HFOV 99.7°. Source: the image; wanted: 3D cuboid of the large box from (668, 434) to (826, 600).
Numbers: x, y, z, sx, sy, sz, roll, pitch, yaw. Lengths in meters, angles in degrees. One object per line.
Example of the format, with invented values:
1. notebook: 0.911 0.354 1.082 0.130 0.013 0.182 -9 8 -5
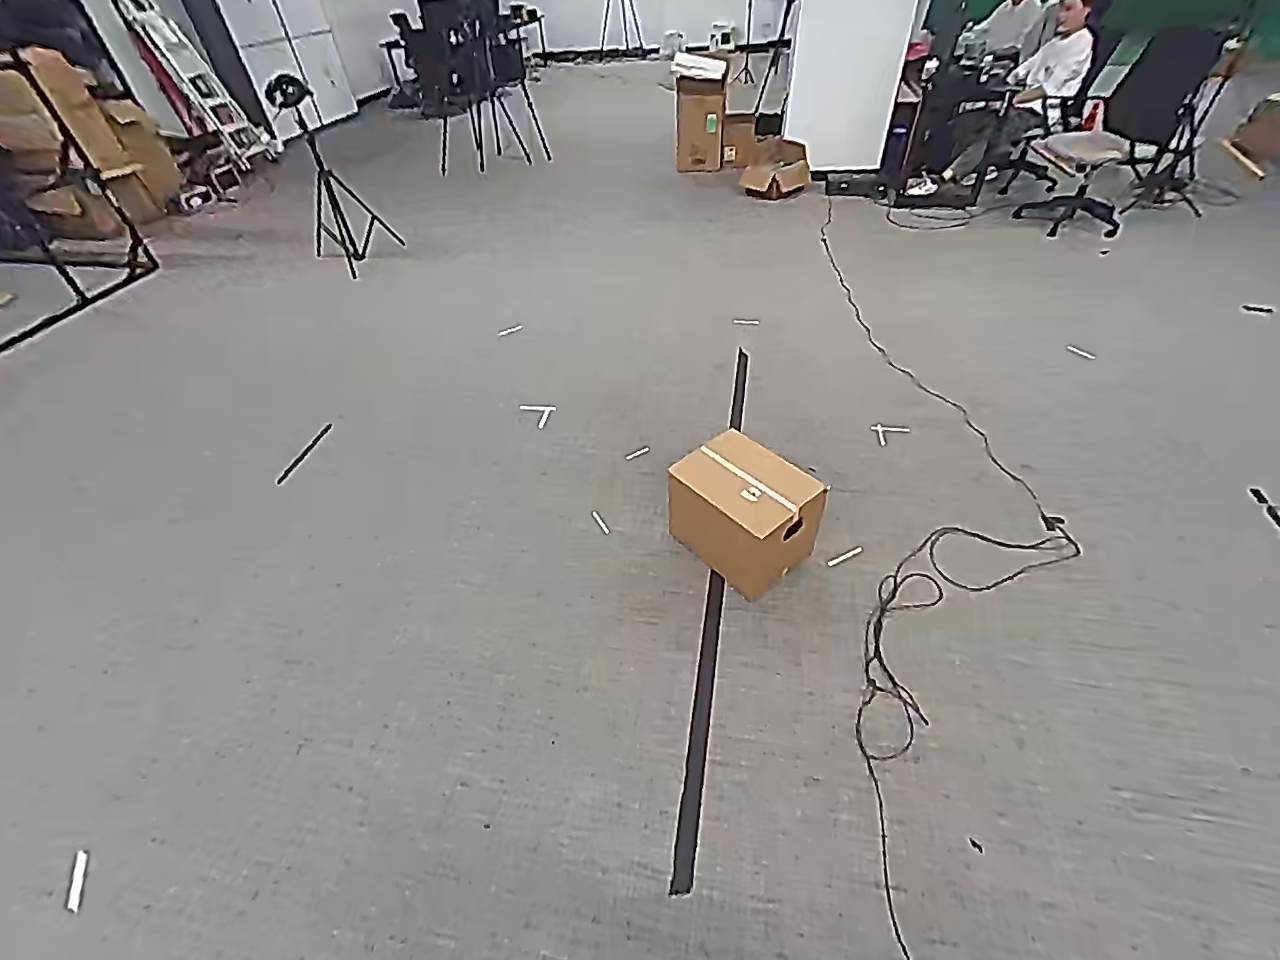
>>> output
1. large box: 0.336 0.114 1.808 0.320 0.320 0.408 -32 51 -26
